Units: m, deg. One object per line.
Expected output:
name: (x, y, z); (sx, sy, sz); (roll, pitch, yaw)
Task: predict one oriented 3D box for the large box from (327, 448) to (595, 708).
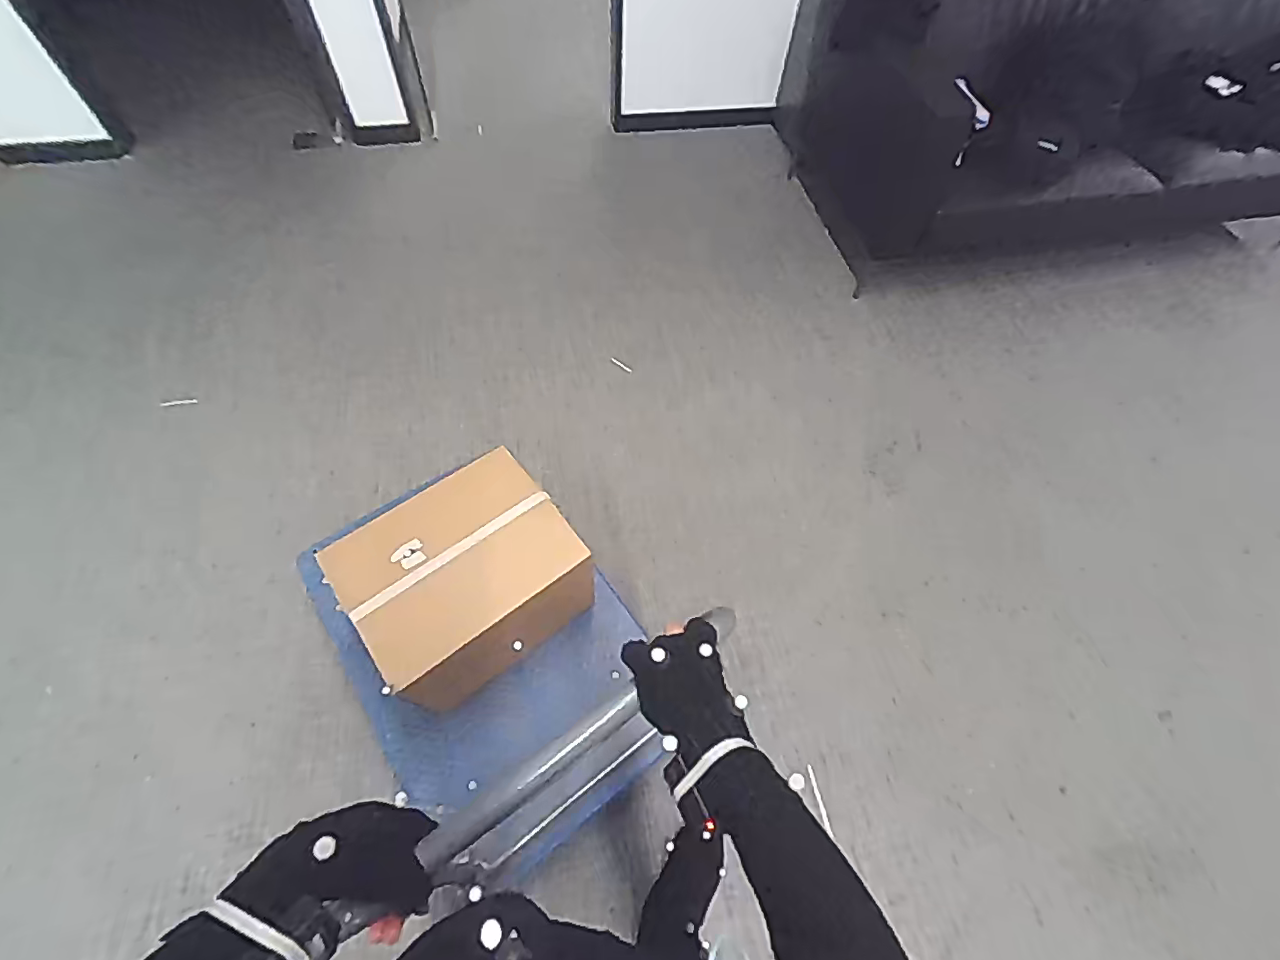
large box: (-0.344, 0.212, 1.149); (0.408, 0.320, 0.320); (-35, 68, -20)
